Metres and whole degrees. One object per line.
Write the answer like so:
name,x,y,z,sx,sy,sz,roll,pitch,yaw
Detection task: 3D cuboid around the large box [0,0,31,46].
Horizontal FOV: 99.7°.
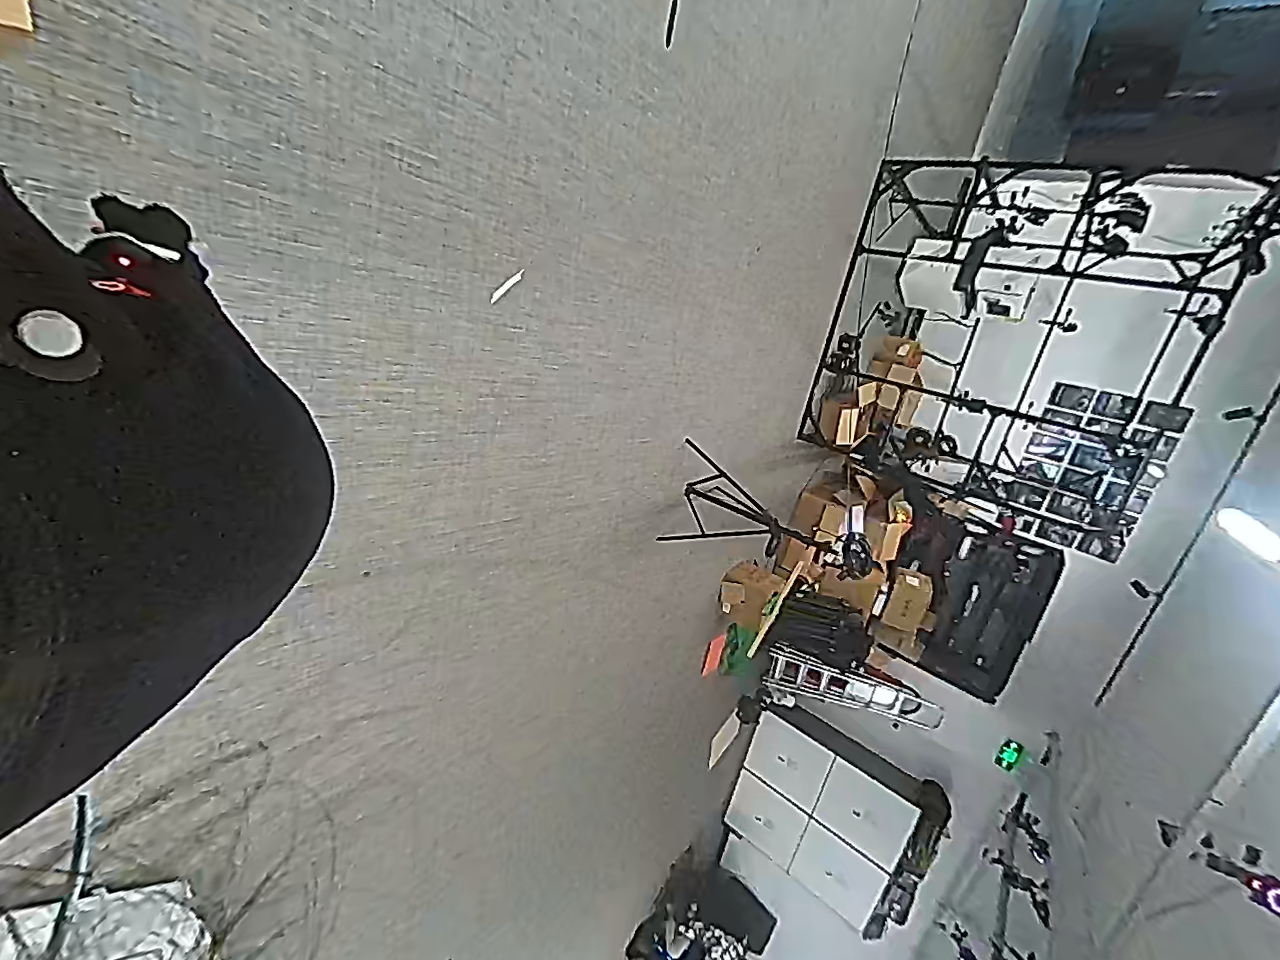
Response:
large box,-1.028,-0.743,0.592,0.408,0.320,0.320,-20,125,-49
